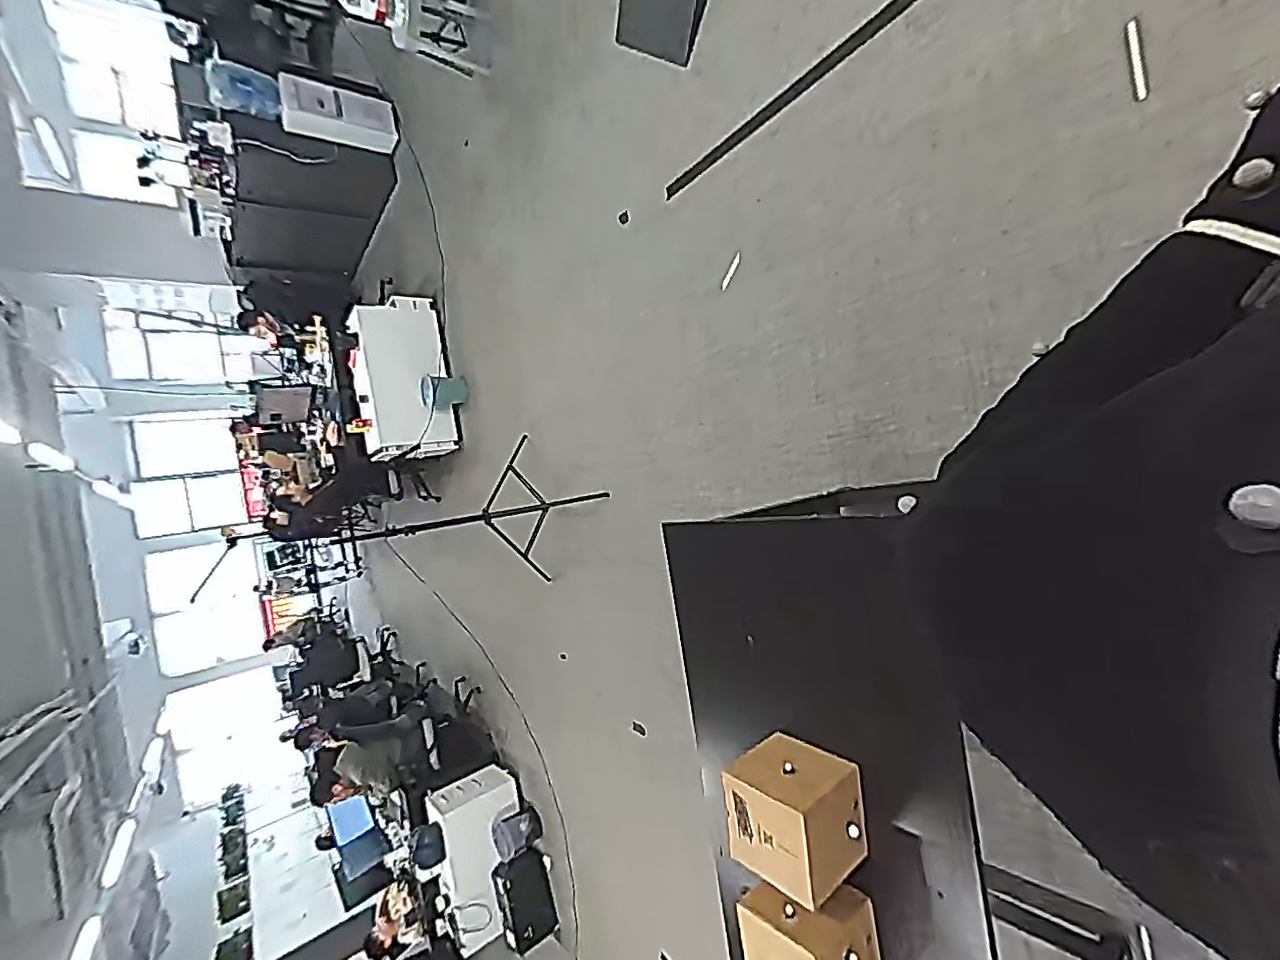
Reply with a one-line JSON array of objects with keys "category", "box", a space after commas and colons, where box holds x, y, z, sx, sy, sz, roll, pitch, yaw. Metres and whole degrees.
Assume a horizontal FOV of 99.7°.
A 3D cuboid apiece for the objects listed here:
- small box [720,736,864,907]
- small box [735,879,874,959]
[{"category": "small box", "box": [0.267, 0.581, 0.954, 0.179, 0.176, 0.168, -2, 96, 51]}, {"category": "small box", "box": [0.300, 0.829, 0.968, 0.179, 0.176, 0.168, -10, 89, 53]}]
